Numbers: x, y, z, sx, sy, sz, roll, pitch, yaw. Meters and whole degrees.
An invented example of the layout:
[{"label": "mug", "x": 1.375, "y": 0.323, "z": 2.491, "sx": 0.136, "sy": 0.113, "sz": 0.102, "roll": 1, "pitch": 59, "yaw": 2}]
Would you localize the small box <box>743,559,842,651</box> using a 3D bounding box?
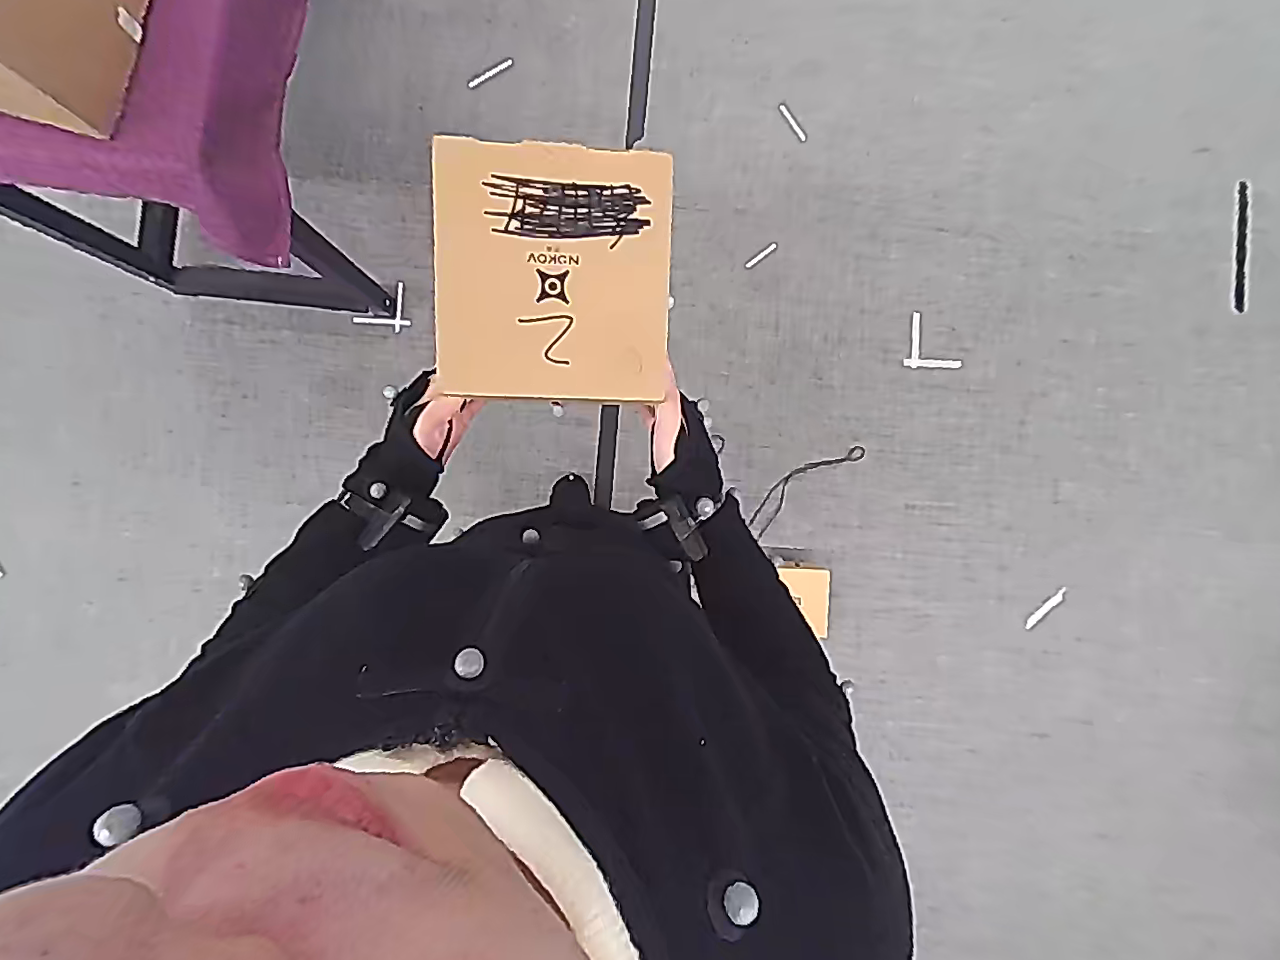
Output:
[{"label": "small box", "x": 0.395, "y": 0.324, "z": 1.411, "sx": 0.179, "sy": 0.176, "sz": 0.168, "roll": -3, "pitch": 109, "yaw": -21}]
